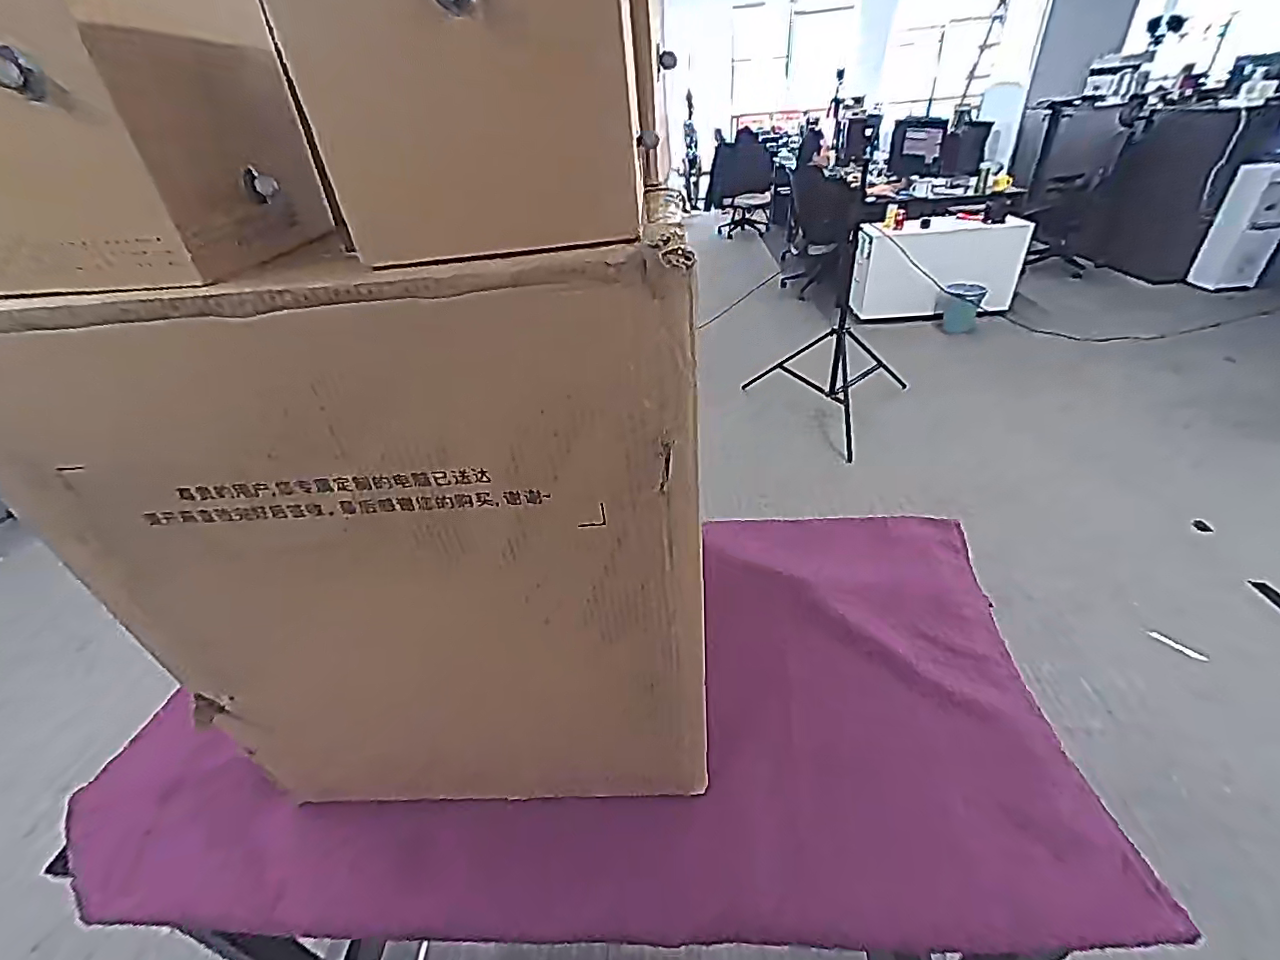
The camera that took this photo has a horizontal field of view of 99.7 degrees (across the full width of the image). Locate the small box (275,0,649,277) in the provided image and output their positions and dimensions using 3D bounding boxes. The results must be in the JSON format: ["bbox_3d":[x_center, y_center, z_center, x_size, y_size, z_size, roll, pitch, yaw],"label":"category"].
[{"bbox_3d":[-0.084,-0.240,0.333,0.168,0.176,0.179,-5,34,3],"label":"small box"}]

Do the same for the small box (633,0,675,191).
[{"bbox_3d":[-0.060,-0.362,0.509,0.179,0.176,0.168,-1,35,9],"label":"small box"}]
